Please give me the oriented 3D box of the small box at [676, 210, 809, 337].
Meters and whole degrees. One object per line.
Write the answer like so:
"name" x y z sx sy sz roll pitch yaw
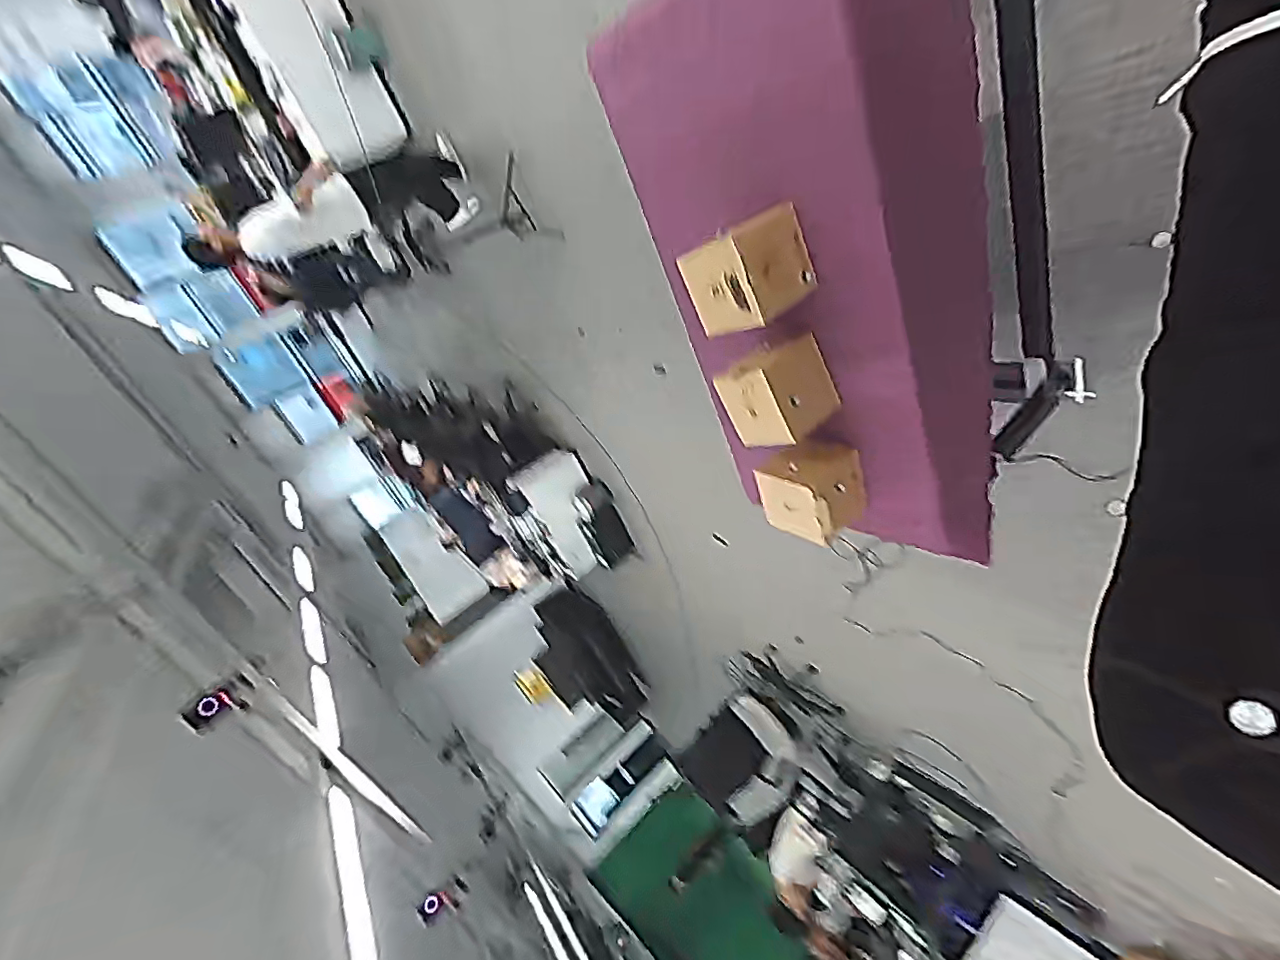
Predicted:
"small box" 0.209 -0.405 1.070 0.179 0.176 0.168 11 133 59

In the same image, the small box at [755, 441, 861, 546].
"small box" 0.410 0.024 1.297 0.179 0.176 0.168 22 141 51

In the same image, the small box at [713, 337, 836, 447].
"small box" 0.301 -0.191 1.197 0.168 0.176 0.179 3 126 60
